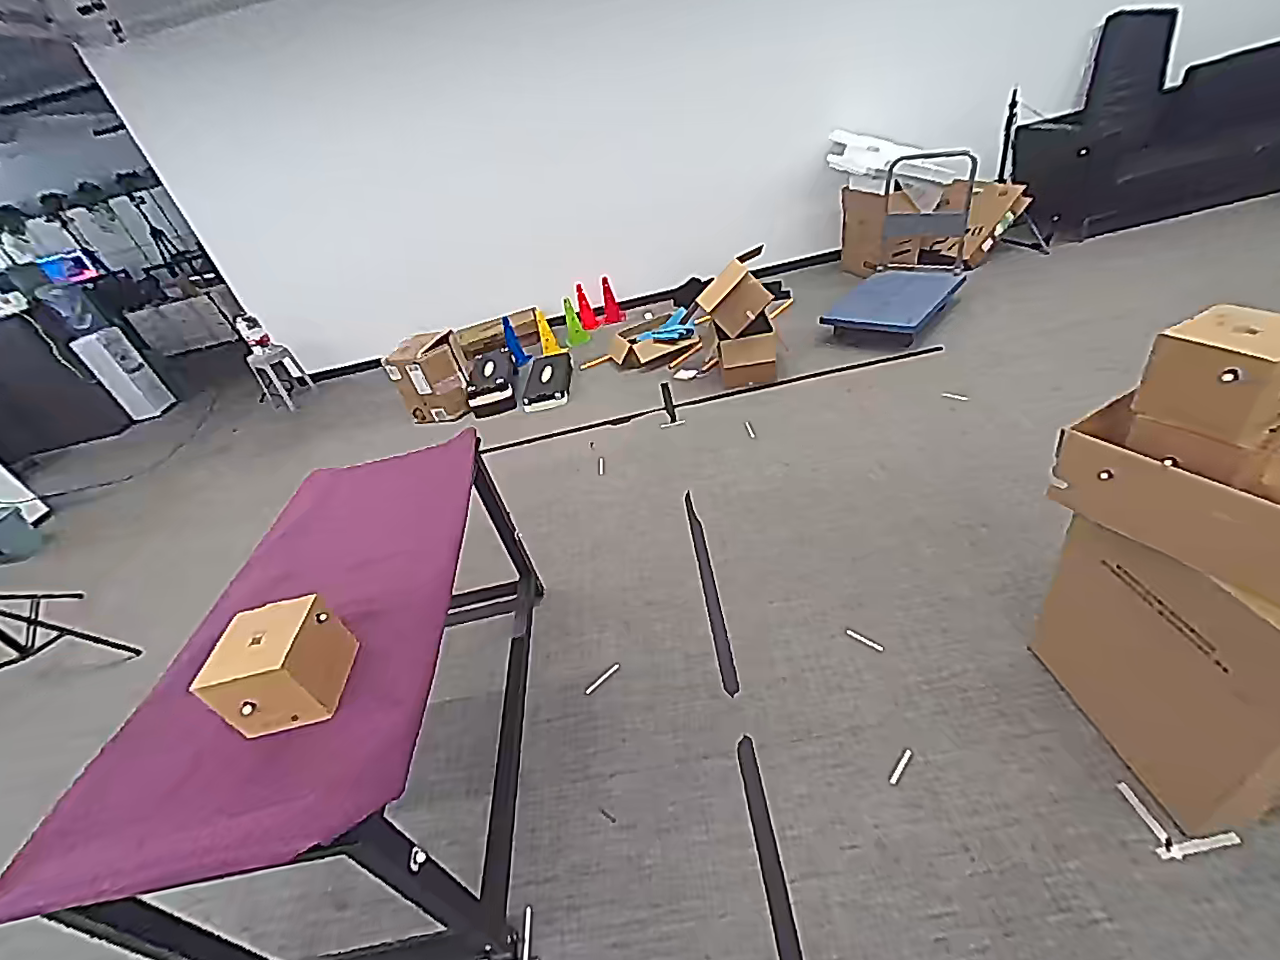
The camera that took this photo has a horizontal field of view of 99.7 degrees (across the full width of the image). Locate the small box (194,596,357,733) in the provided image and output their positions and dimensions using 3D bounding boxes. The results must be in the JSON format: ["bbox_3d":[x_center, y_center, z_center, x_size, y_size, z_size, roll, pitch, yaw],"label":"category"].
[{"bbox_3d":[-0.677,0.358,1.034,0.168,0.176,0.179,-14,35,0],"label":"small box"}]

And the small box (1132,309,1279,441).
[{"bbox_3d":[1.078,-0.191,0.998,0.168,0.176,0.179,-23,35,-10],"label":"small box"}]
